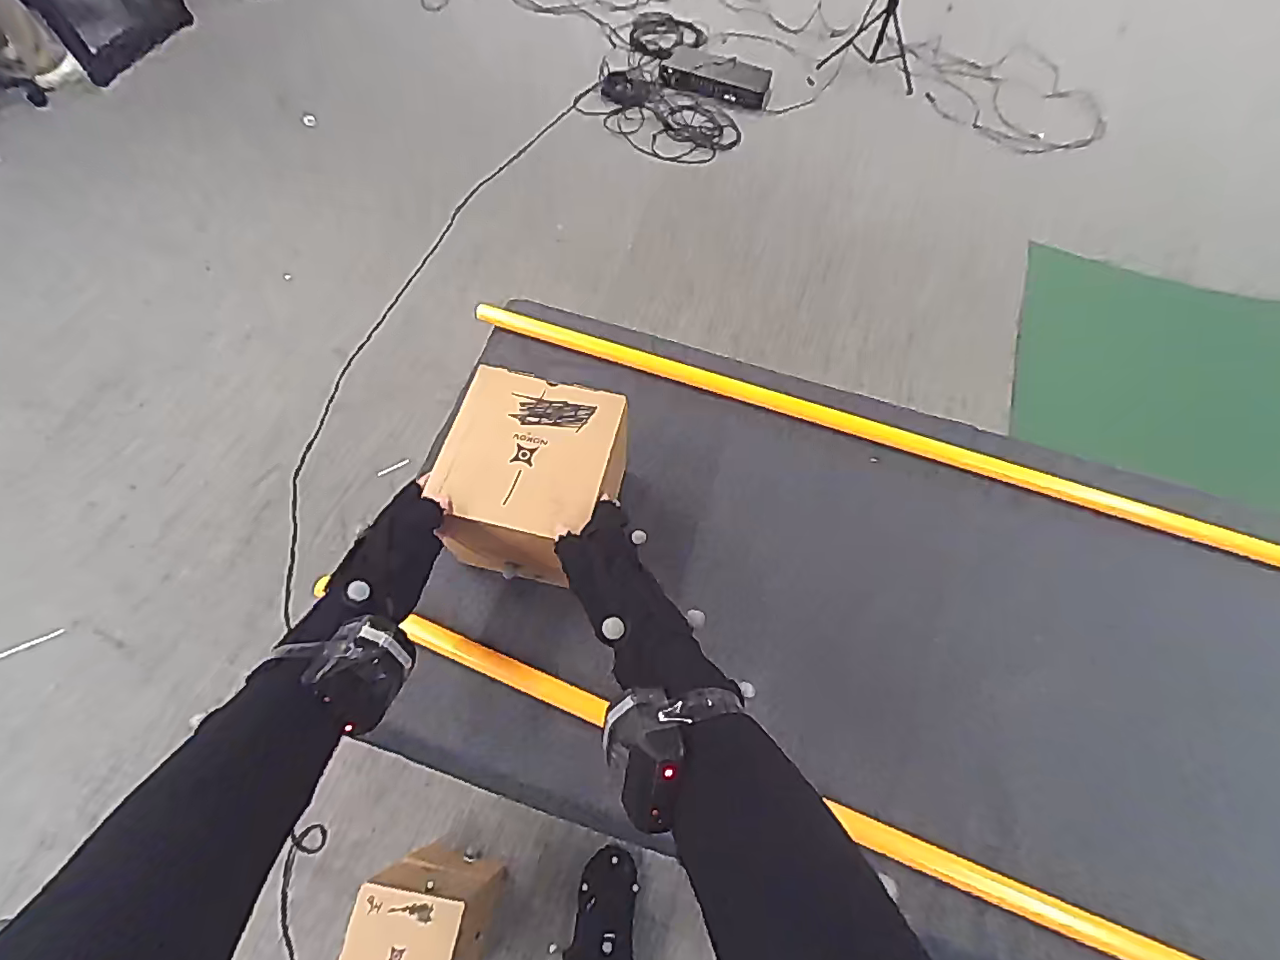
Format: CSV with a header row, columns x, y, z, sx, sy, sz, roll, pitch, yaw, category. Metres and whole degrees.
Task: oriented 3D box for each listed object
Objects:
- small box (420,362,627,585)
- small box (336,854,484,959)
x,y,z,sx,sy,sz,roll,pitch,yaw,category
-0.117,0.000,0.614,0.168,0.176,0.179,12,64,4,small box
-0.365,0.733,0.873,0.168,0.176,0.179,7,64,2,small box
